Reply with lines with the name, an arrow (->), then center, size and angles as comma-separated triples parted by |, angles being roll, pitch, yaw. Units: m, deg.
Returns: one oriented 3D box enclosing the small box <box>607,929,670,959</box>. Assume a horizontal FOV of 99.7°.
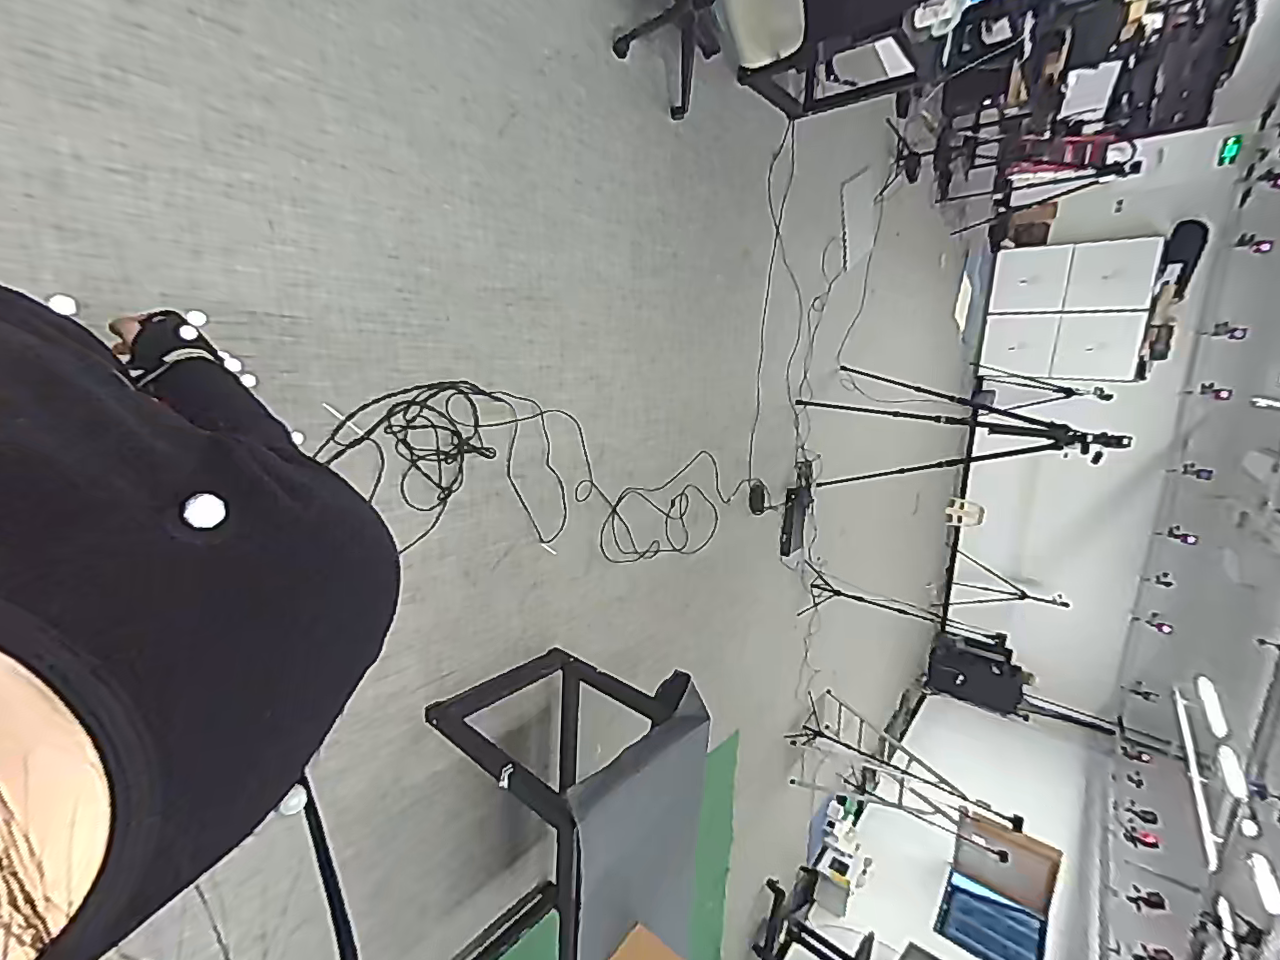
small box -> -0.008, 1.422, 1.504 | 0.179, 0.176, 0.168 | -16, 111, -49
